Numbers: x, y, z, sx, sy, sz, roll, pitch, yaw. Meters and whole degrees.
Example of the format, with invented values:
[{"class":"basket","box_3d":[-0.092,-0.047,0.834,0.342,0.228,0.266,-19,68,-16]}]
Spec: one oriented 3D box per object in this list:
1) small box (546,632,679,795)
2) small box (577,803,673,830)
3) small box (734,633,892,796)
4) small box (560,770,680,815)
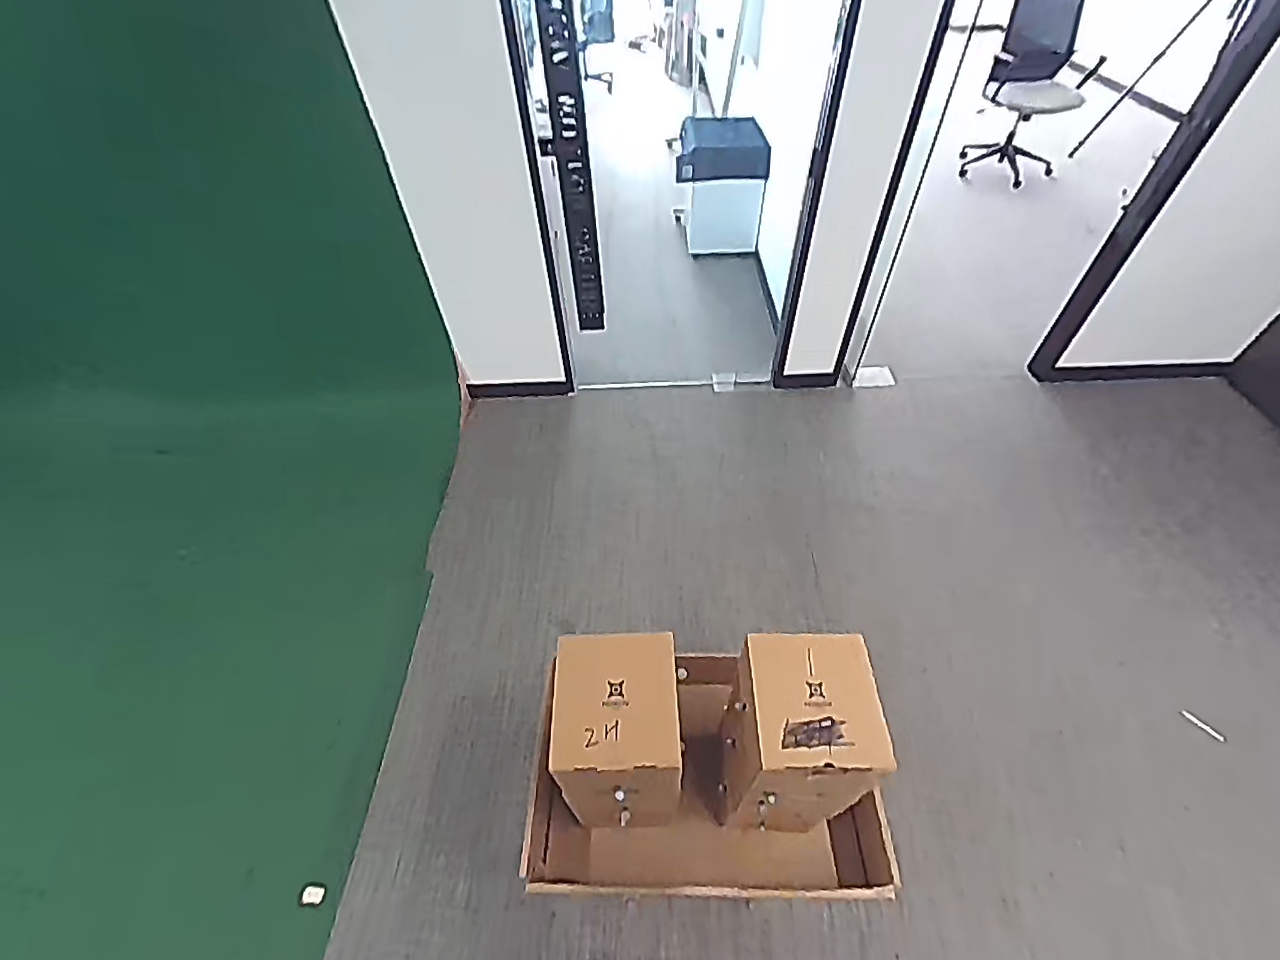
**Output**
[{"class":"small box","box_3d":[-0.033,0.335,0.774,0.168,0.176,0.179,-2,50,1]},{"class":"small box","box_3d":[-0.028,0.553,1.022,0.179,0.176,0.168,0,49,0]},{"class":"small box","box_3d":[0.228,0.336,0.767,0.168,0.176,0.179,0,49,2]},{"class":"small box","box_3d":[-0.031,0.446,0.897,0.179,0.176,0.168,-2,49,0]}]
